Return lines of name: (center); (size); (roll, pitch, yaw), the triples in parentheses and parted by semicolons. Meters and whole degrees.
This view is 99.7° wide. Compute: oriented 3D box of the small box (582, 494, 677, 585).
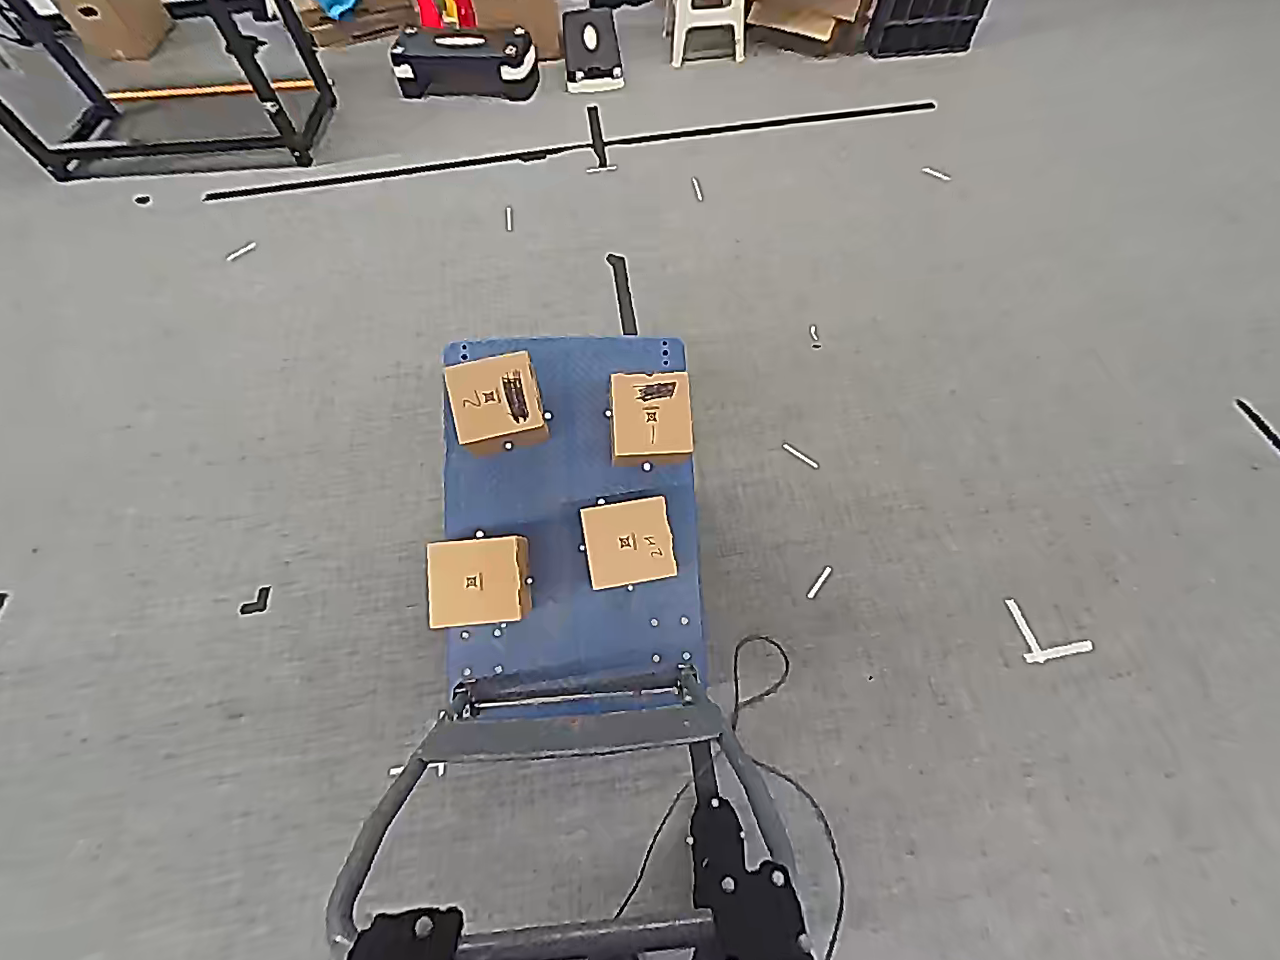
small box: (-0.025, 0.131, 1.167); (0.179, 0.176, 0.168); (-8, 84, -5)

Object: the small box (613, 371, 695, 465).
small box: (0.026, -0.132, 1.204); (0.168, 0.176, 0.179); (-2, 84, -4)

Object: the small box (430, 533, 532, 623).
small box: (-0.328, 0.202, 1.138); (0.179, 0.176, 0.168); (-4, 83, -6)
